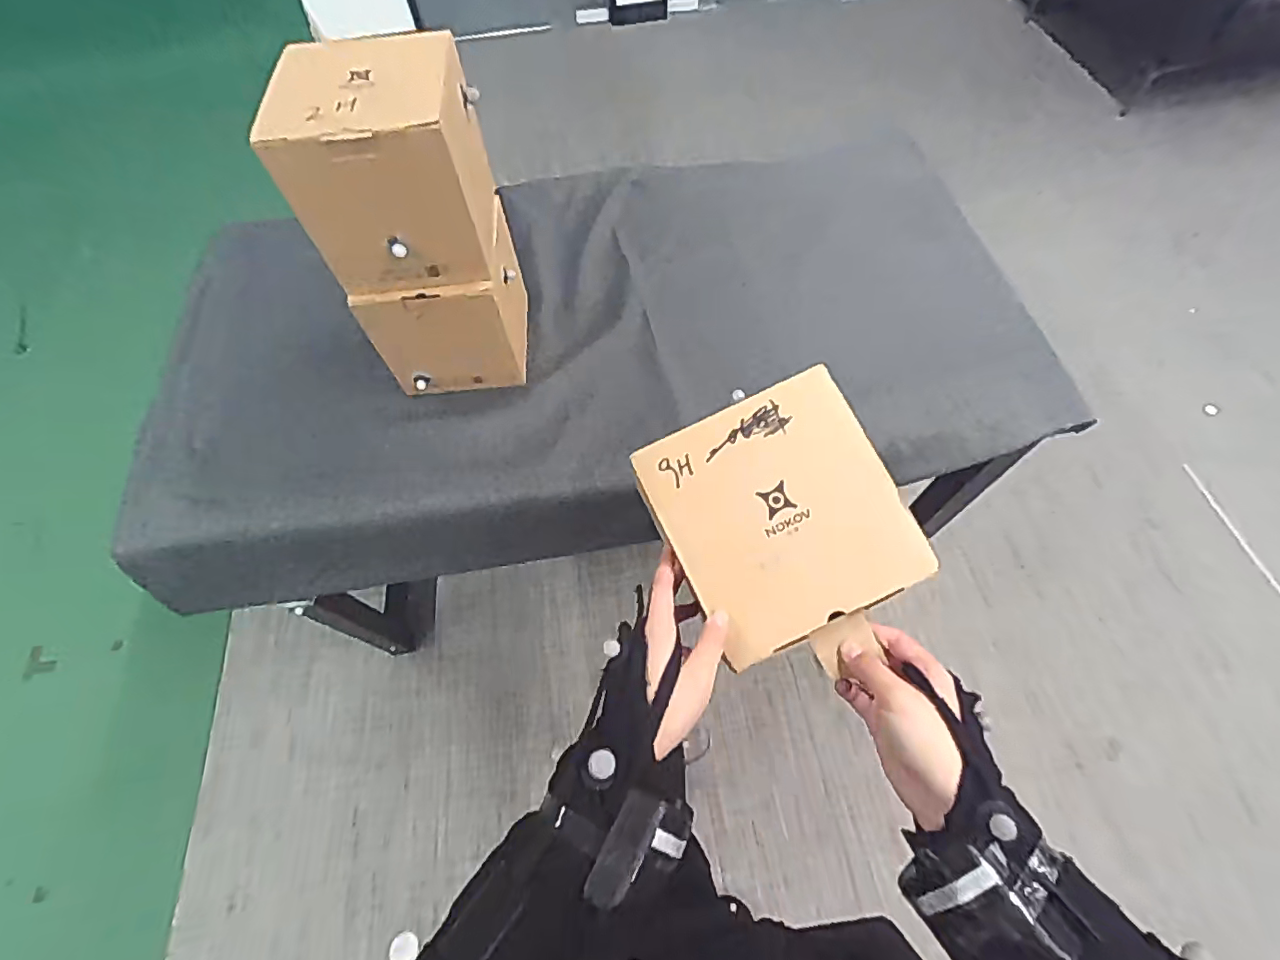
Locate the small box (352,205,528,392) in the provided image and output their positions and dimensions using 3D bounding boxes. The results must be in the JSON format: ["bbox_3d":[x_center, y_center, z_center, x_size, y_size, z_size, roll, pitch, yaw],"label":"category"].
[{"bbox_3d":[-0.248,-0.230,0.719,0.168,0.176,0.179,-5,60,-1],"label":"small box"}]

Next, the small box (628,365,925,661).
[{"bbox_3d":[0.102,0.032,0.478,0.168,0.176,0.179,-25,80,-2],"label":"small box"}]

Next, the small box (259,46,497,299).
[{"bbox_3d":[-0.258,-0.324,0.583,0.168,0.176,0.179,-7,61,-1],"label":"small box"}]
